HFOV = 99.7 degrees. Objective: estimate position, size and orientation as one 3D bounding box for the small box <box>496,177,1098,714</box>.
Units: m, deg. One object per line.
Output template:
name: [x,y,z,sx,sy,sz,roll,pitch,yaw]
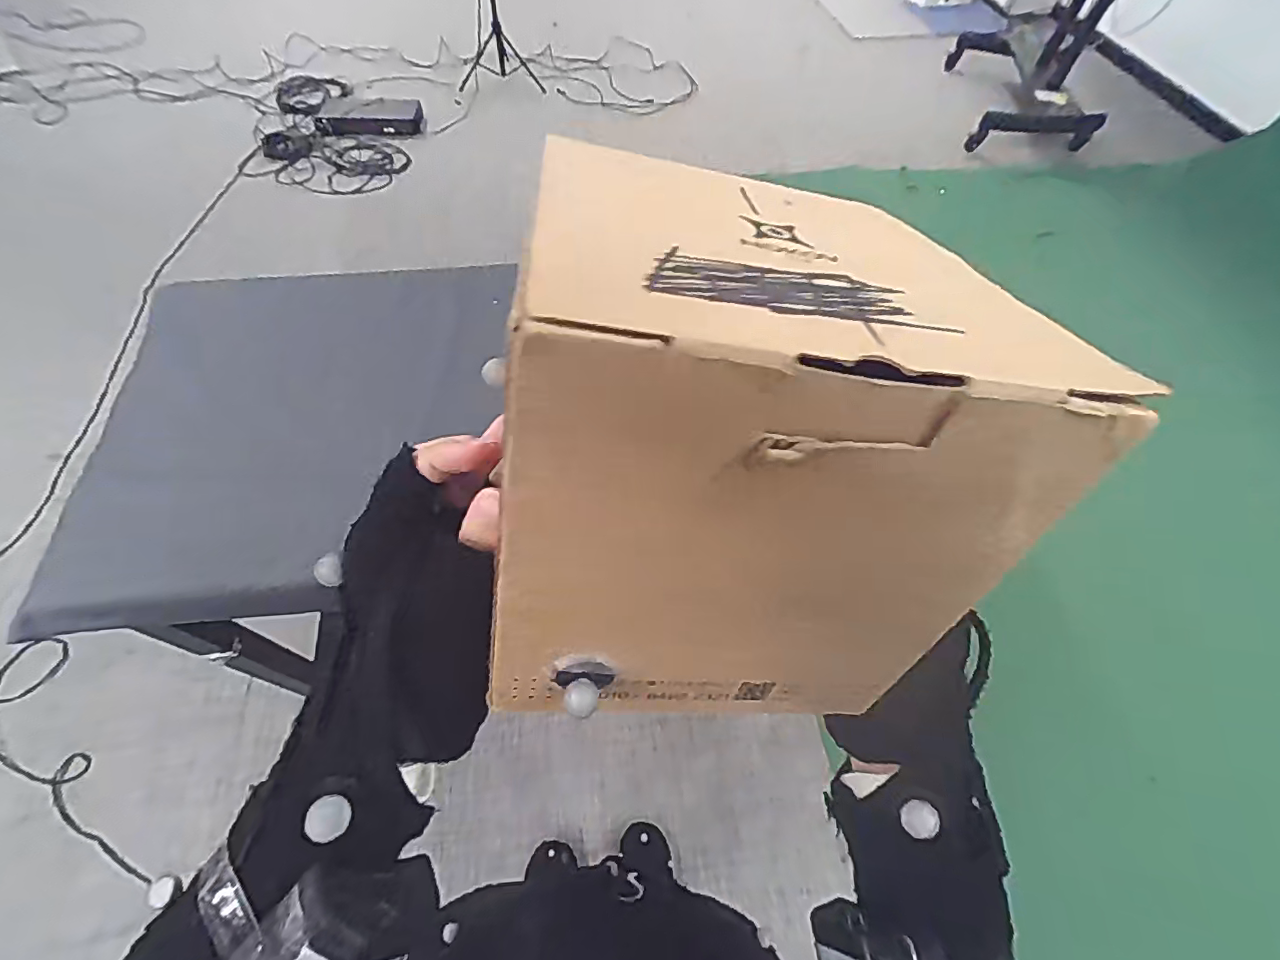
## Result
small box: [0.028,-0.012,0.249,0.168,0.176,0.179,7,40,-12]
